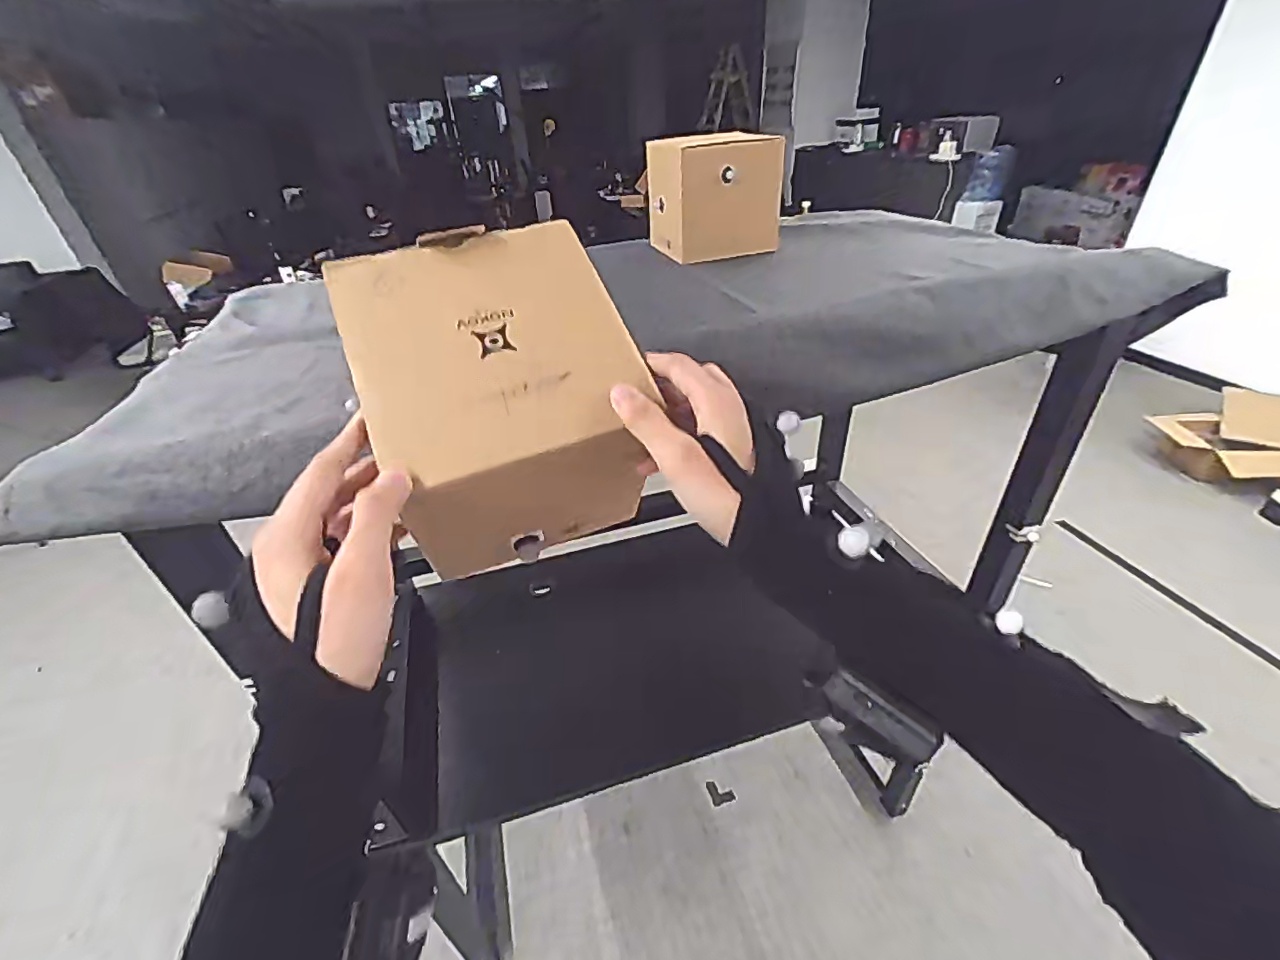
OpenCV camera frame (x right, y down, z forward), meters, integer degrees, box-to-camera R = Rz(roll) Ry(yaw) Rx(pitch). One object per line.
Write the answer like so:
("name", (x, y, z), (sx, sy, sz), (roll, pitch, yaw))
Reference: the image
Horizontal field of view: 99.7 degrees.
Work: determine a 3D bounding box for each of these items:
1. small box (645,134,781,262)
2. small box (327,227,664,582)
("small box", (0.119, -0.479, 0.916), (0.179, 0.176, 0.168), (-13, 36, -12))
("small box", (-0.102, -0.049, 0.404), (0.168, 0.176, 0.179), (-20, 68, -16))
